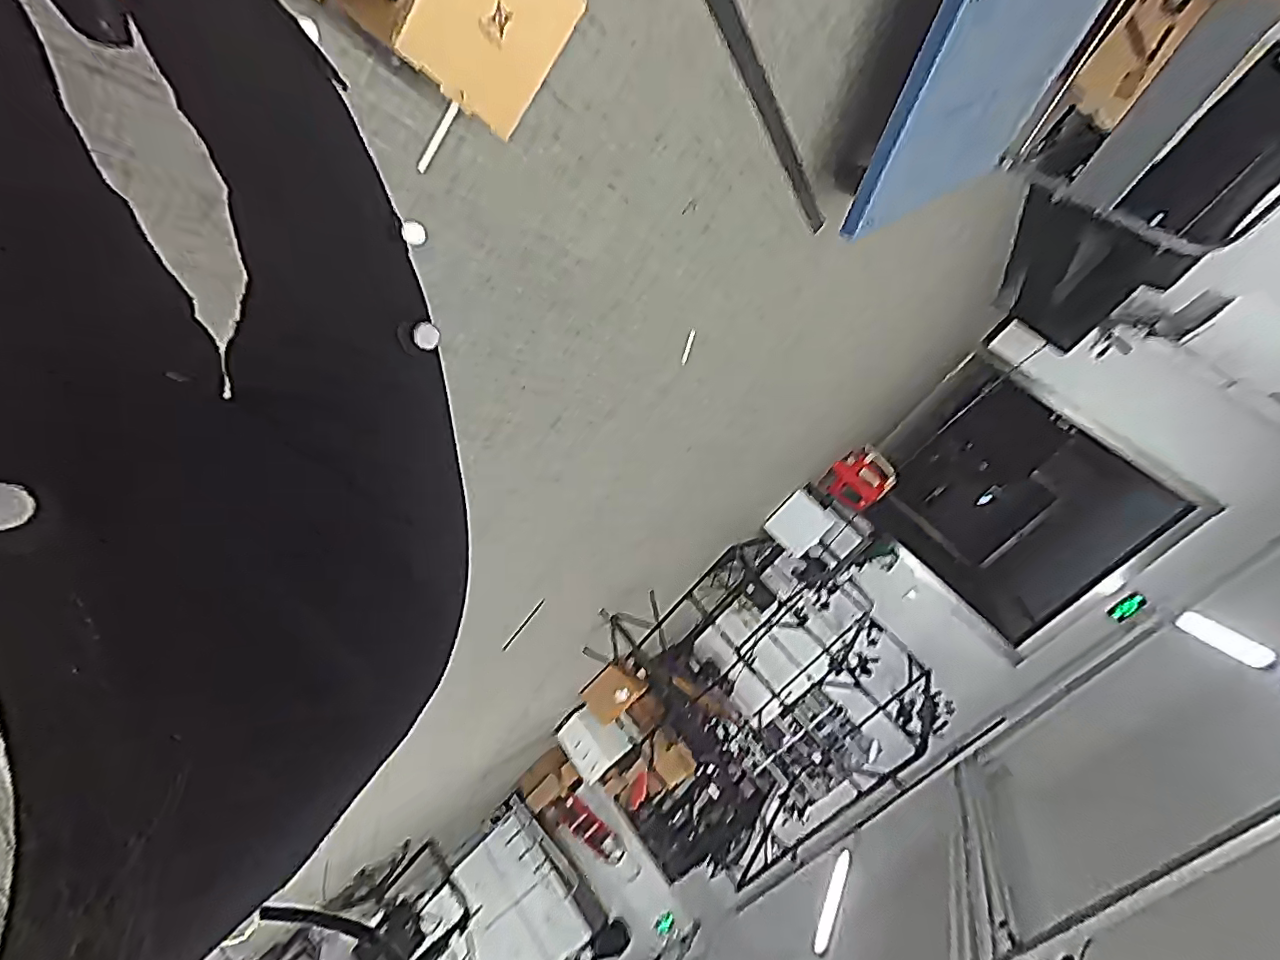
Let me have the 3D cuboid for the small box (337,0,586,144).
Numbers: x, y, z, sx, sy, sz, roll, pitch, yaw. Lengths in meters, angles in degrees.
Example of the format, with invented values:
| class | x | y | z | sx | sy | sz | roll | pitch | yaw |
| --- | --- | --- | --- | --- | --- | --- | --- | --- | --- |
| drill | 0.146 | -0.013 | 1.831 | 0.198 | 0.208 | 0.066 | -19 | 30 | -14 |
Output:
| class | x | y | z | sx | sy | sz | roll | pitch | yaw |
| --- | --- | --- | --- | --- | --- | --- | --- | --- | --- |
| small box | -0.200 | -0.536 | 0.601 | 0.179 | 0.176 | 0.168 | -49 | 159 | 18 |
